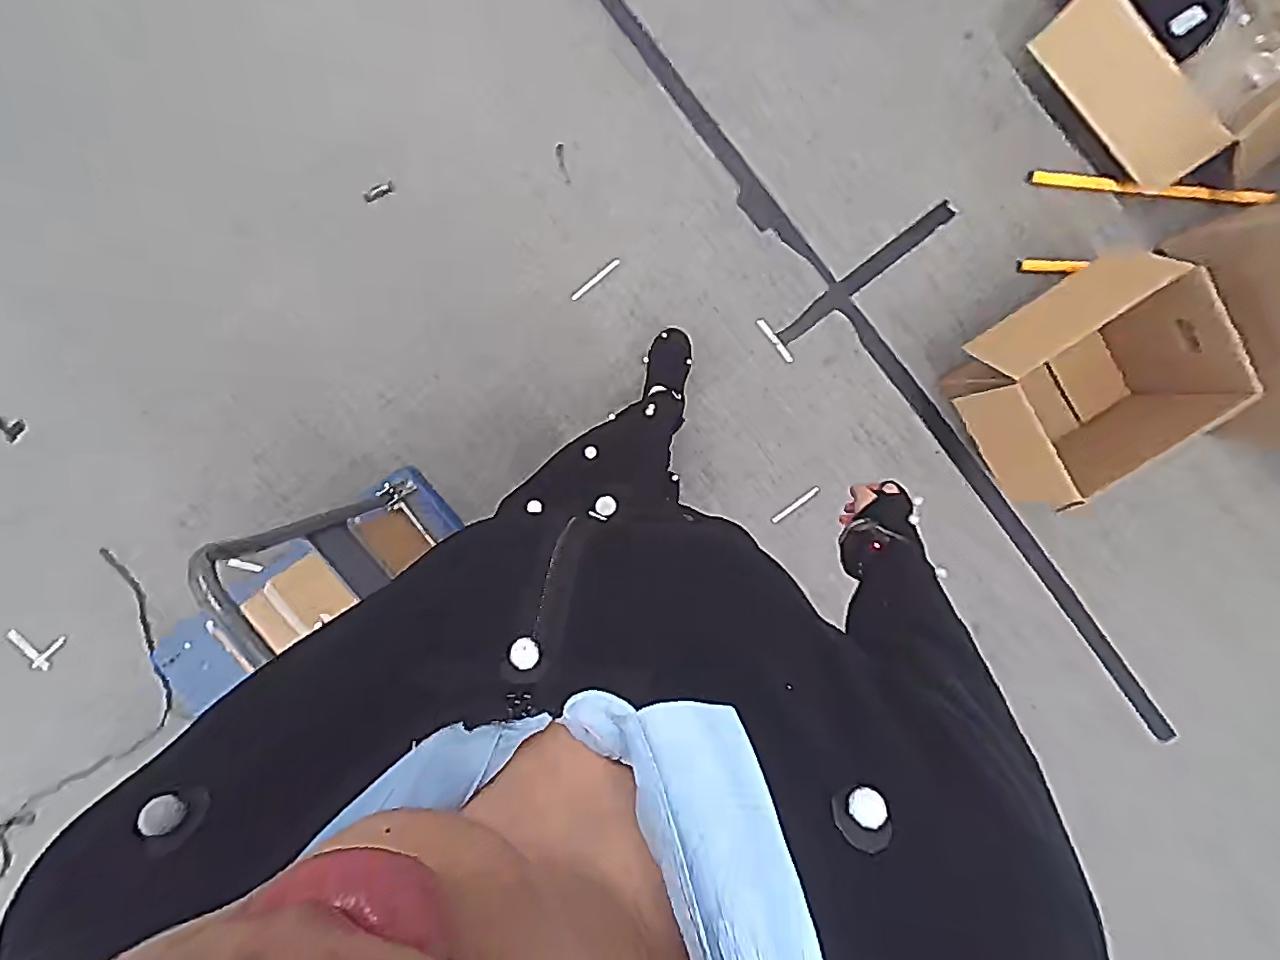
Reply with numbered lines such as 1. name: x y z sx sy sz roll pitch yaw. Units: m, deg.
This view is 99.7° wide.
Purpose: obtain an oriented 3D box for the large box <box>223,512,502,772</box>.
1. large box: -0.588 0.340 1.224 0.320 0.320 0.408 -36 96 6
